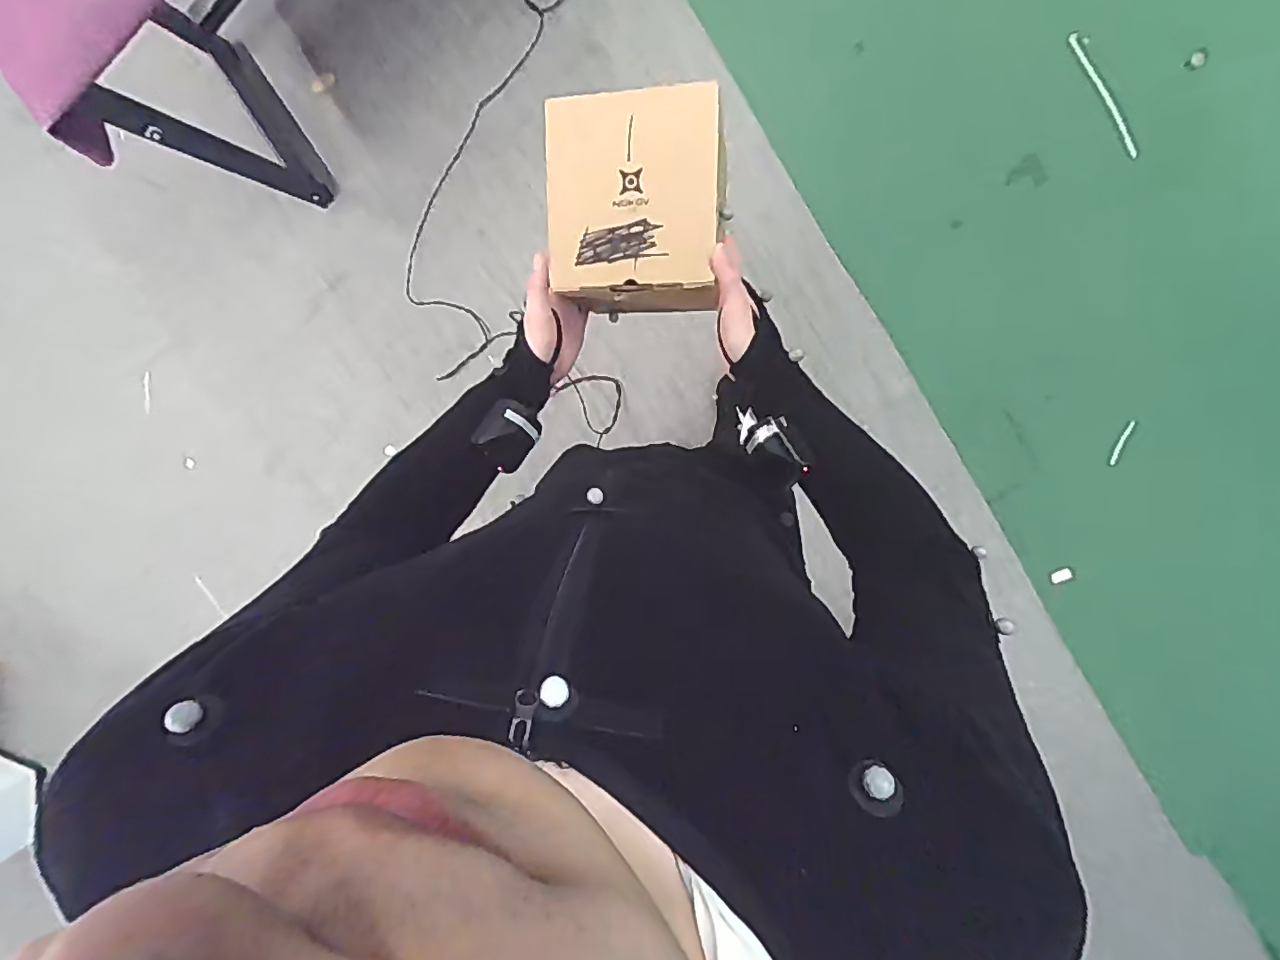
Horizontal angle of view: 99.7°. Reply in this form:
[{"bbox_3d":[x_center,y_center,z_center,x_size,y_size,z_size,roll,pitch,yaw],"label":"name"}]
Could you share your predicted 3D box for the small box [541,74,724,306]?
[{"bbox_3d":[0.004,-0.287,0.582,0.168,0.176,0.179,1,99,11],"label":"small box"}]
